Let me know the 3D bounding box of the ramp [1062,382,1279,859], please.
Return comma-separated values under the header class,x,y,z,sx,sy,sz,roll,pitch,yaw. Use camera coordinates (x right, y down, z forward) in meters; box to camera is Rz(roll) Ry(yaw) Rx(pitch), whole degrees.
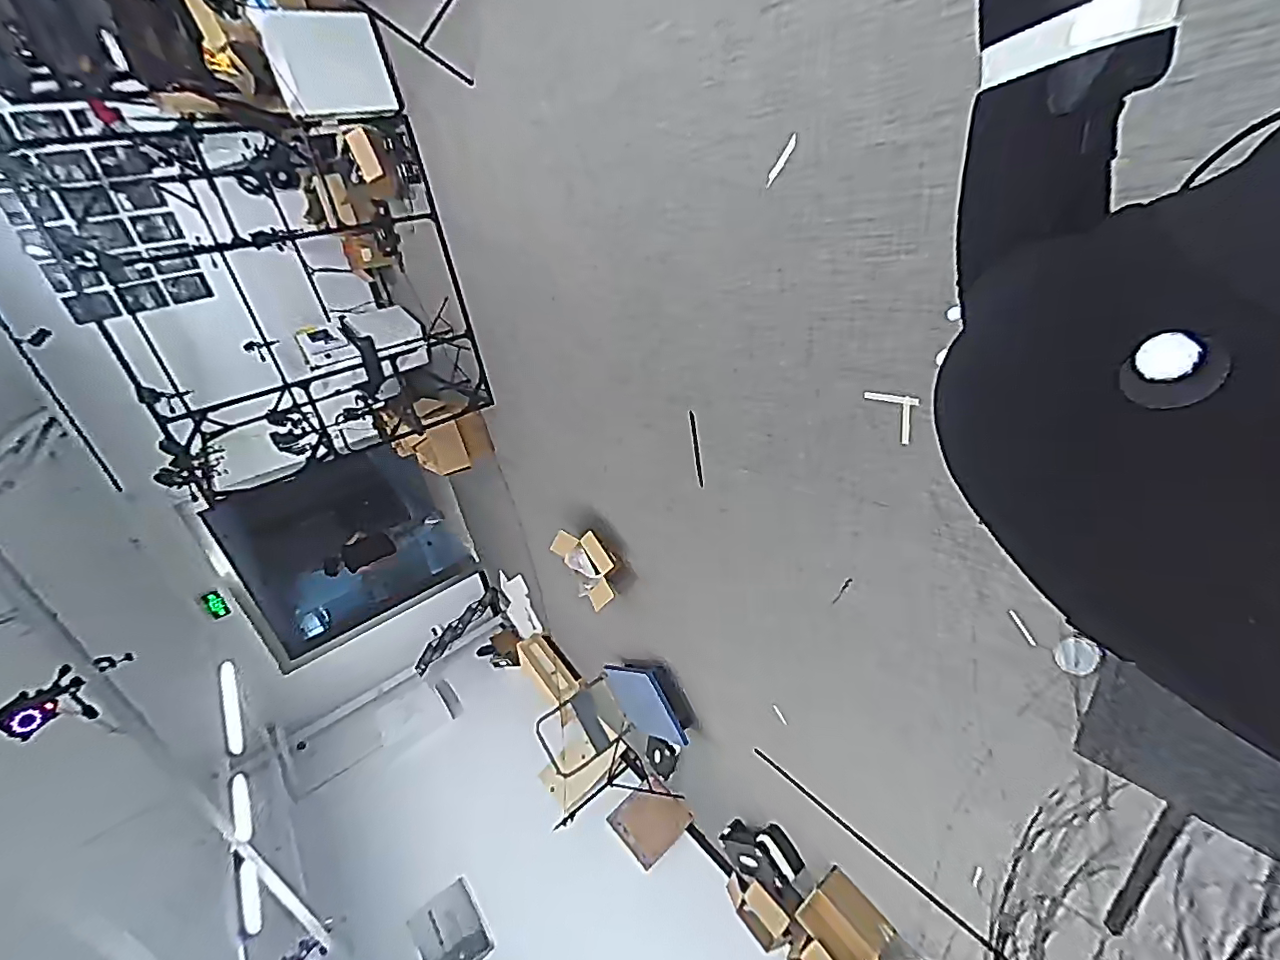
class,x,y,z,sx,sy,sz,roll,pitch,yaw
ramp,1.299,0.323,1.125,0.509,0.206,0.991,23,132,48
